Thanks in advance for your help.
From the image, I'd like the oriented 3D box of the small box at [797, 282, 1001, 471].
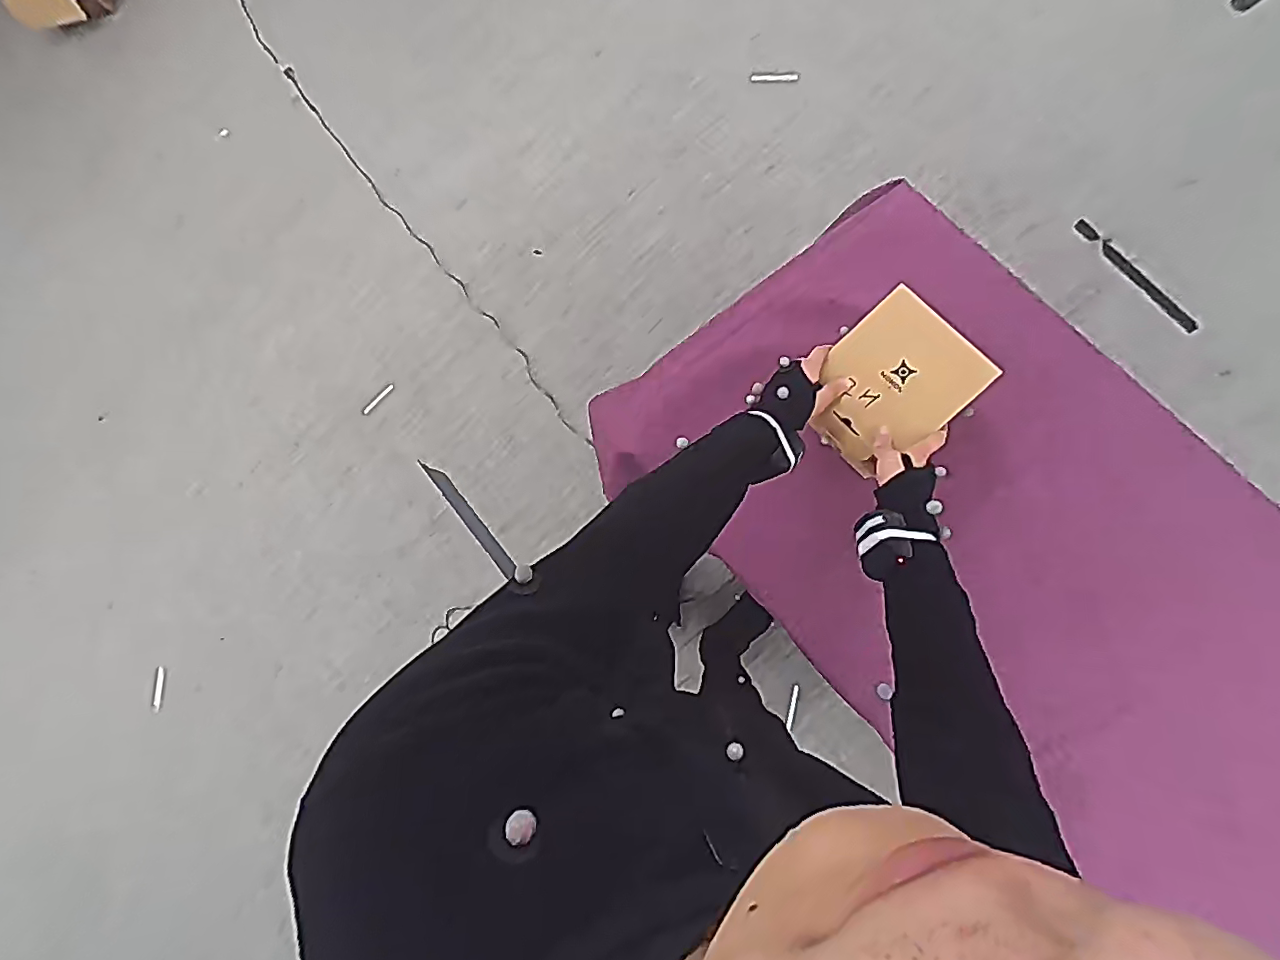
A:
[{"bbox_3d":[0.338,-0.130,0.752,0.179,0.176,0.168,-43,80,6],"label":"small box"}]
